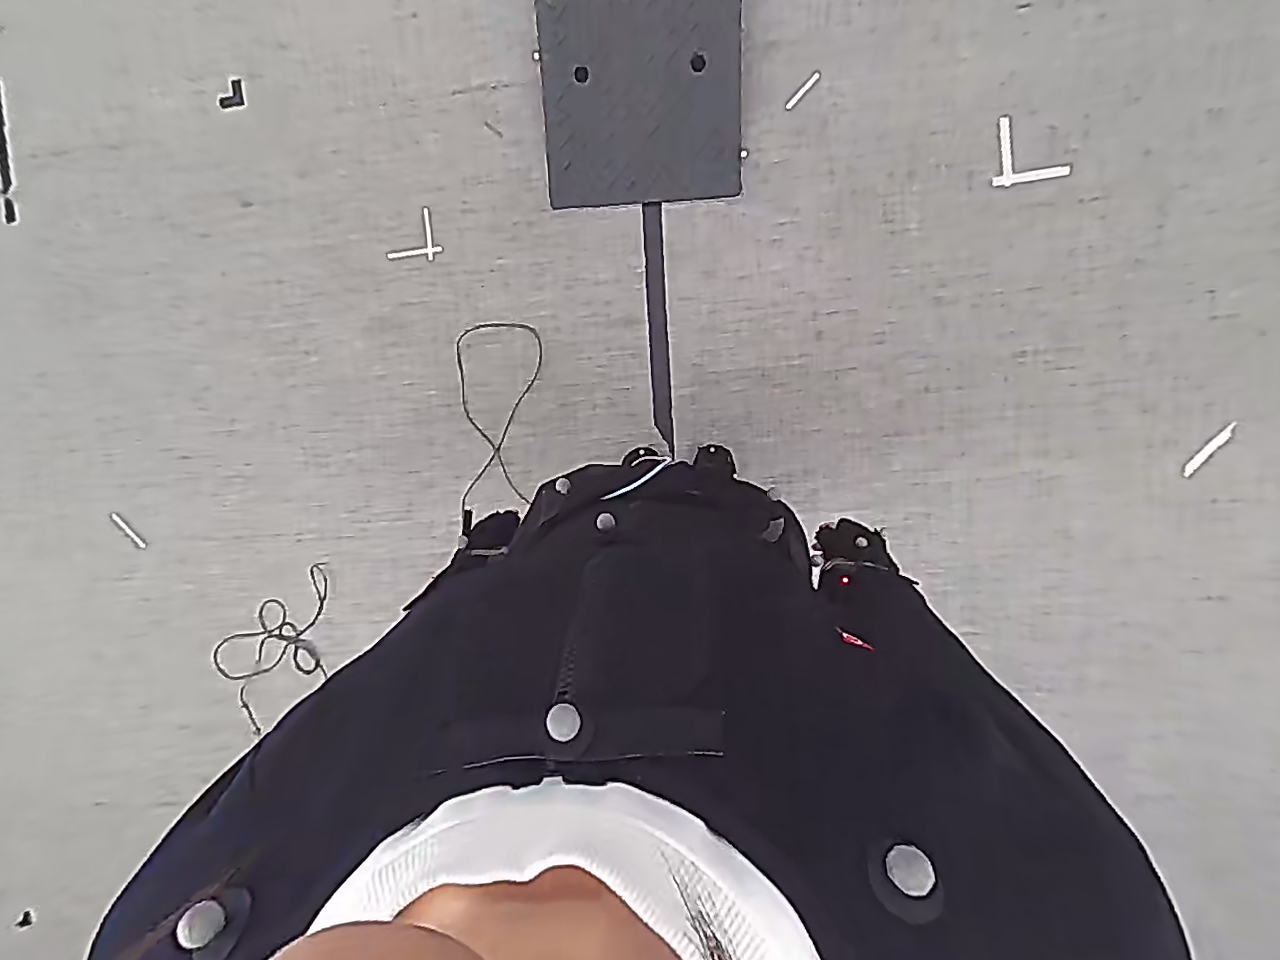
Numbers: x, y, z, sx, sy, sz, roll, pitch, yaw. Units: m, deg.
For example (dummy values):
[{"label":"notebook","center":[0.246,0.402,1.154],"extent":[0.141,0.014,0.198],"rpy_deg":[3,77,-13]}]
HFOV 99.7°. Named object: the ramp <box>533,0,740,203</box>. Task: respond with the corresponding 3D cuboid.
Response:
[{"label":"ramp","center":[-0.014,-1.208,1.255],"extent":[0.509,0.206,0.991],"rpy_deg":[-3,95,5]}]
